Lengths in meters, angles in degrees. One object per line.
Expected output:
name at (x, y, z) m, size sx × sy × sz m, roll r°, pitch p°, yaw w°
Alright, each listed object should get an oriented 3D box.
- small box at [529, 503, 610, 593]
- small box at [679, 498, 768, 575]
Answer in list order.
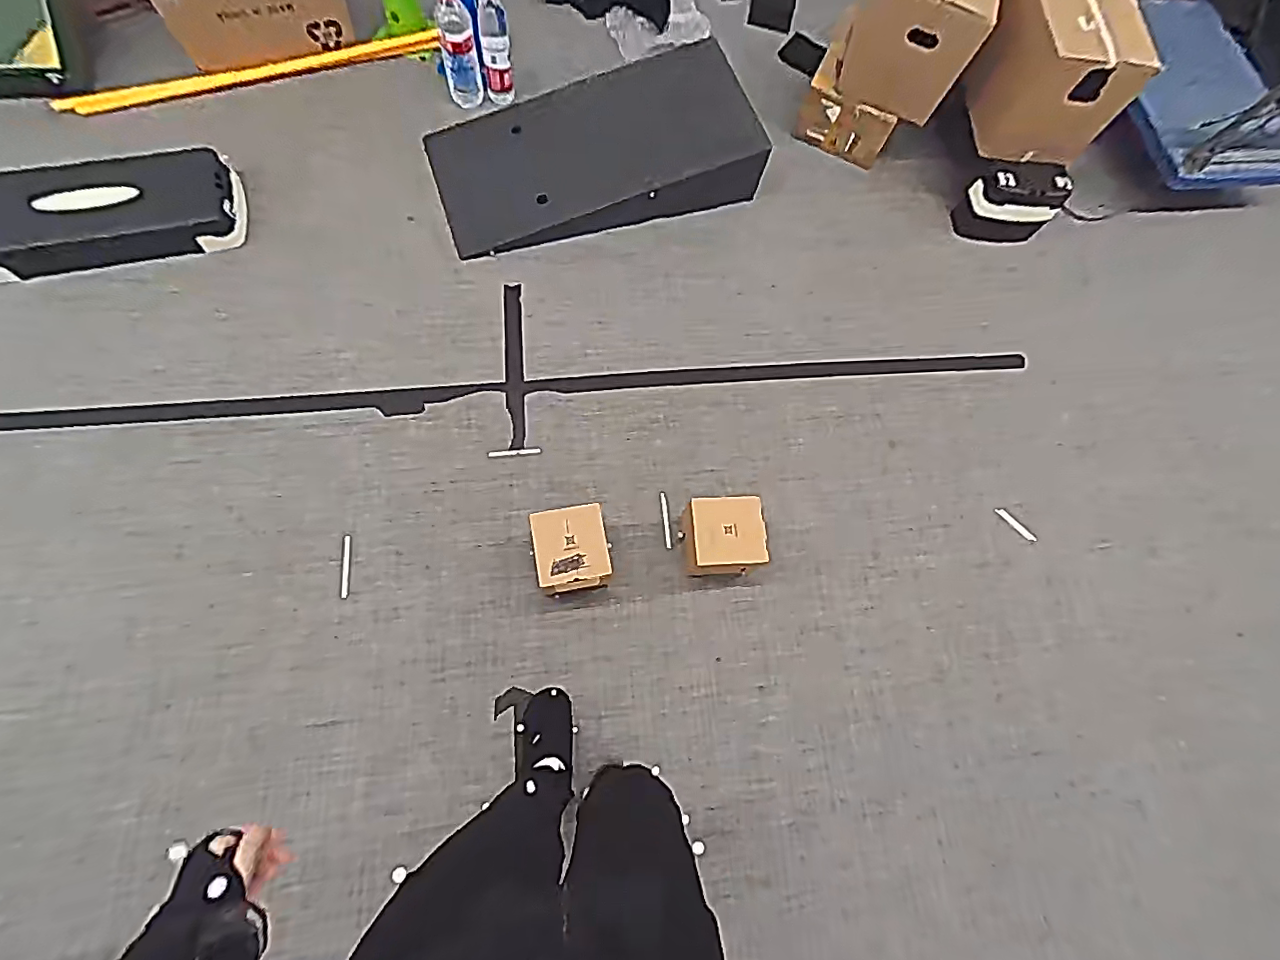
small box at (-0.168, 0.169, 1.298) m, size 0.168 × 0.176 × 0.179 m, roll -9°, pitch 73°, yaw -10°
small box at (0.203, 0.144, 1.351) m, size 0.179 × 0.176 × 0.168 m, roll -1°, pitch 72°, yaw -7°
